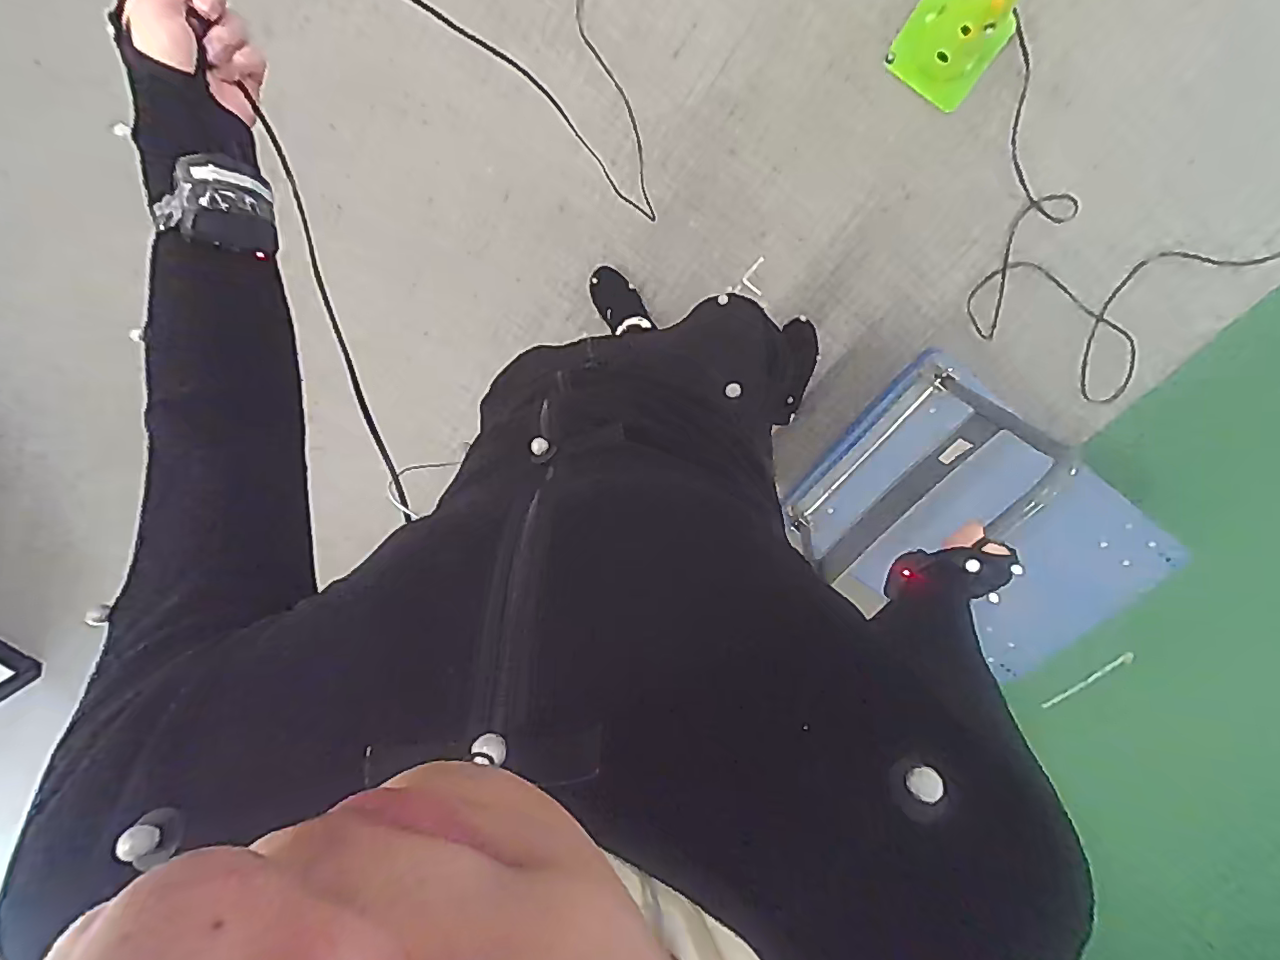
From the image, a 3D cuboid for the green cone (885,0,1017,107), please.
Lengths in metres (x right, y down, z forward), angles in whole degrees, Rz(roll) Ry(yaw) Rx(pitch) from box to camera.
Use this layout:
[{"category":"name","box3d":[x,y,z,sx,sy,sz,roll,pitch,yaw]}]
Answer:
[{"category":"green cone","box3d":[0.638,-0.881,0.998,0.200,0.368,0.202,32,113,-5]}]
